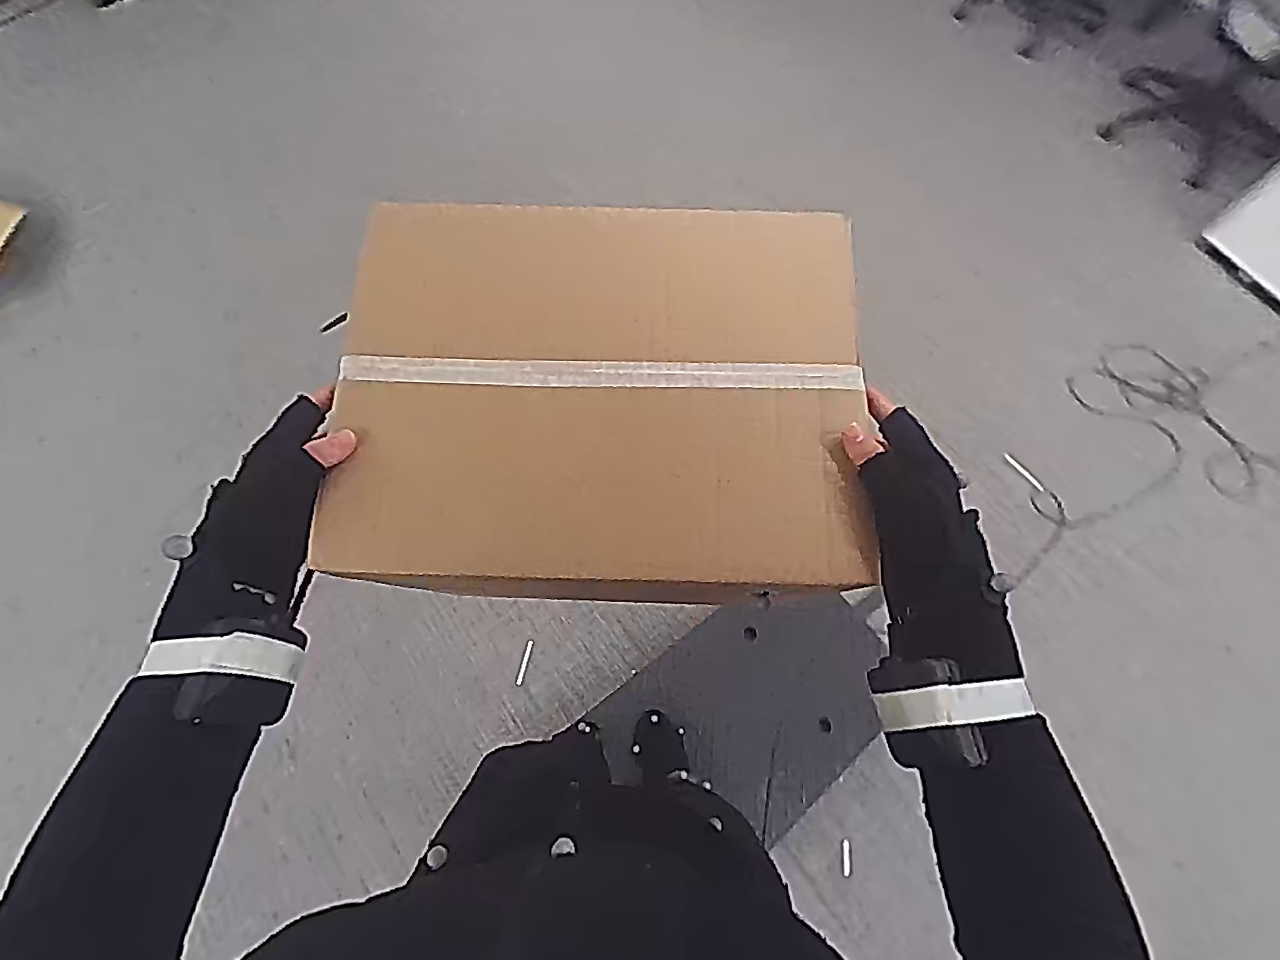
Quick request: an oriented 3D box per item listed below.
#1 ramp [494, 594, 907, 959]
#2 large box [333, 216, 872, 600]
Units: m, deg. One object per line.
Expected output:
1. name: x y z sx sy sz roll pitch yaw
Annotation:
1. ramp: 0.195 0.621 1.354 0.991 0.206 0.509 -37 72 -14
2. large box: -0.022 -0.038 0.574 0.408 0.320 0.320 3 75 0
